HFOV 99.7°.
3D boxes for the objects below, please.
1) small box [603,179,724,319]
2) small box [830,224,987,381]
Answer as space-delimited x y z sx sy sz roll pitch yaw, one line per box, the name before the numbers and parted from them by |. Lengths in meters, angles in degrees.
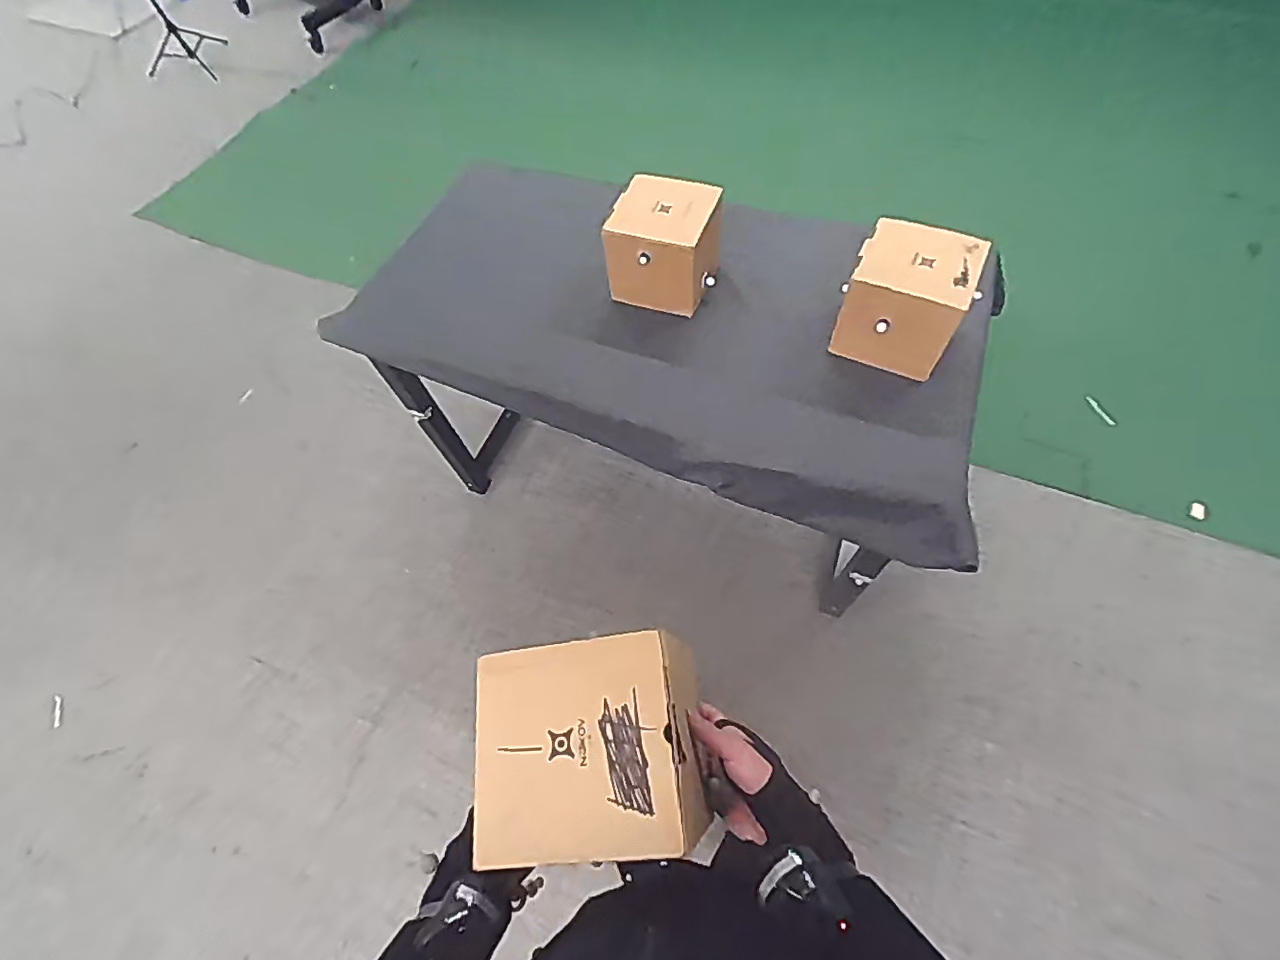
small box | 0.048 -0.436 1.035 0.179 0.176 0.168 18 66 13
small box | 0.445 -0.297 0.919 0.179 0.176 0.168 23 66 17
